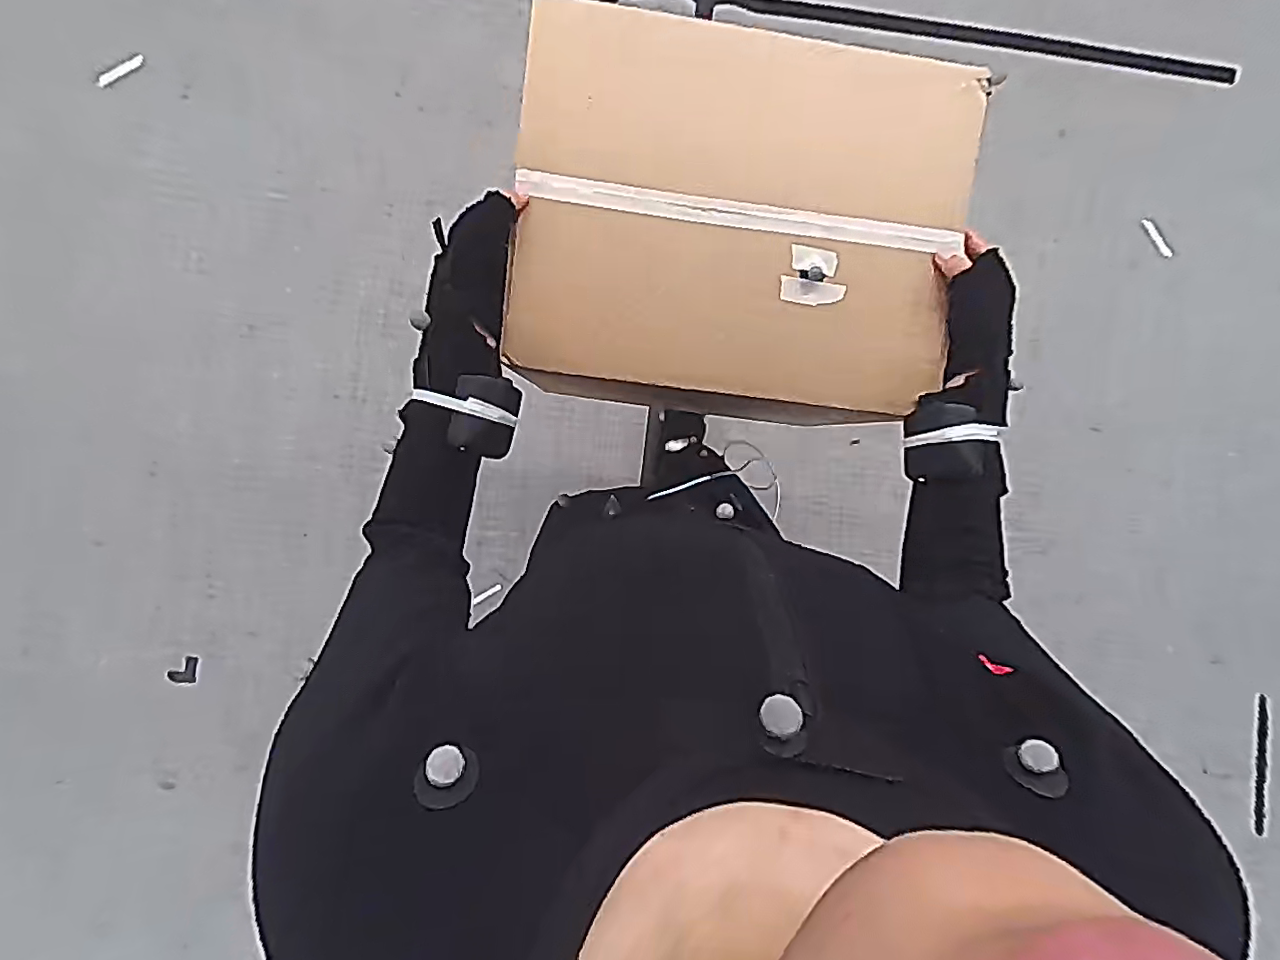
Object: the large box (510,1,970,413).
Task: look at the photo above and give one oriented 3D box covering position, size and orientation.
[{"bbox_3d":[0.081,-0.259,0.643,0.408,0.320,0.320,7,95,-5],"label":"large box"}]
